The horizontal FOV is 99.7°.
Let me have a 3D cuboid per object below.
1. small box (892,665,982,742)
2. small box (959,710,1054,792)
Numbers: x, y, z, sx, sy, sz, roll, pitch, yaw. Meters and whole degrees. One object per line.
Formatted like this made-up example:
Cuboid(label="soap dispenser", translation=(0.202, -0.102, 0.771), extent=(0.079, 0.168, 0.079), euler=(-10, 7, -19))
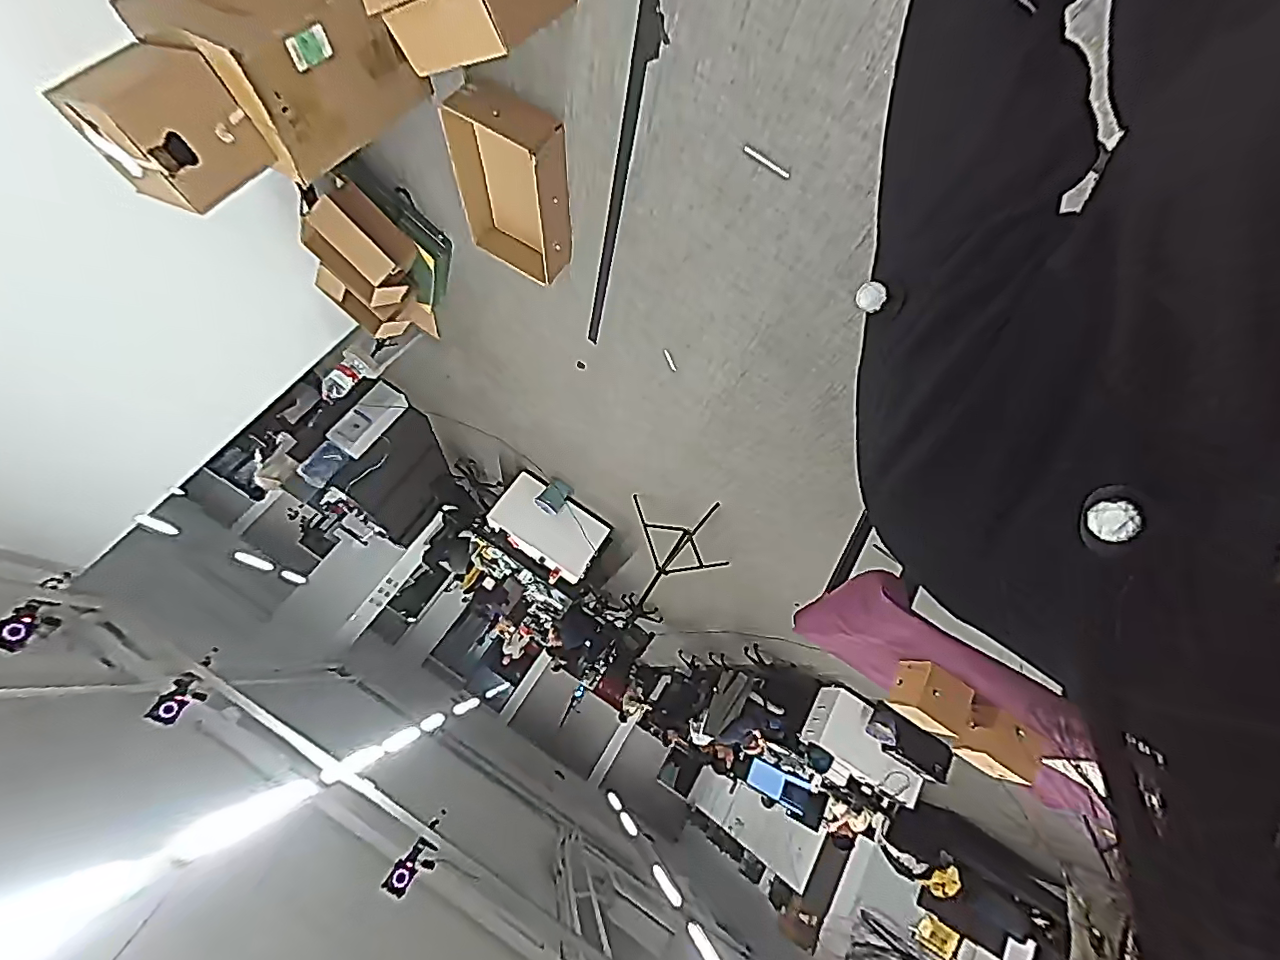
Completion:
Cuboid(label="small box", translation=(0.983, 0.732, 1.789), extent=(0.179, 0.176, 0.168), euler=(33, 160, 0))
Cuboid(label="small box", translation=(1.203, 0.881, 1.776), extent=(0.179, 0.176, 0.168), euler=(35, 159, 3))
